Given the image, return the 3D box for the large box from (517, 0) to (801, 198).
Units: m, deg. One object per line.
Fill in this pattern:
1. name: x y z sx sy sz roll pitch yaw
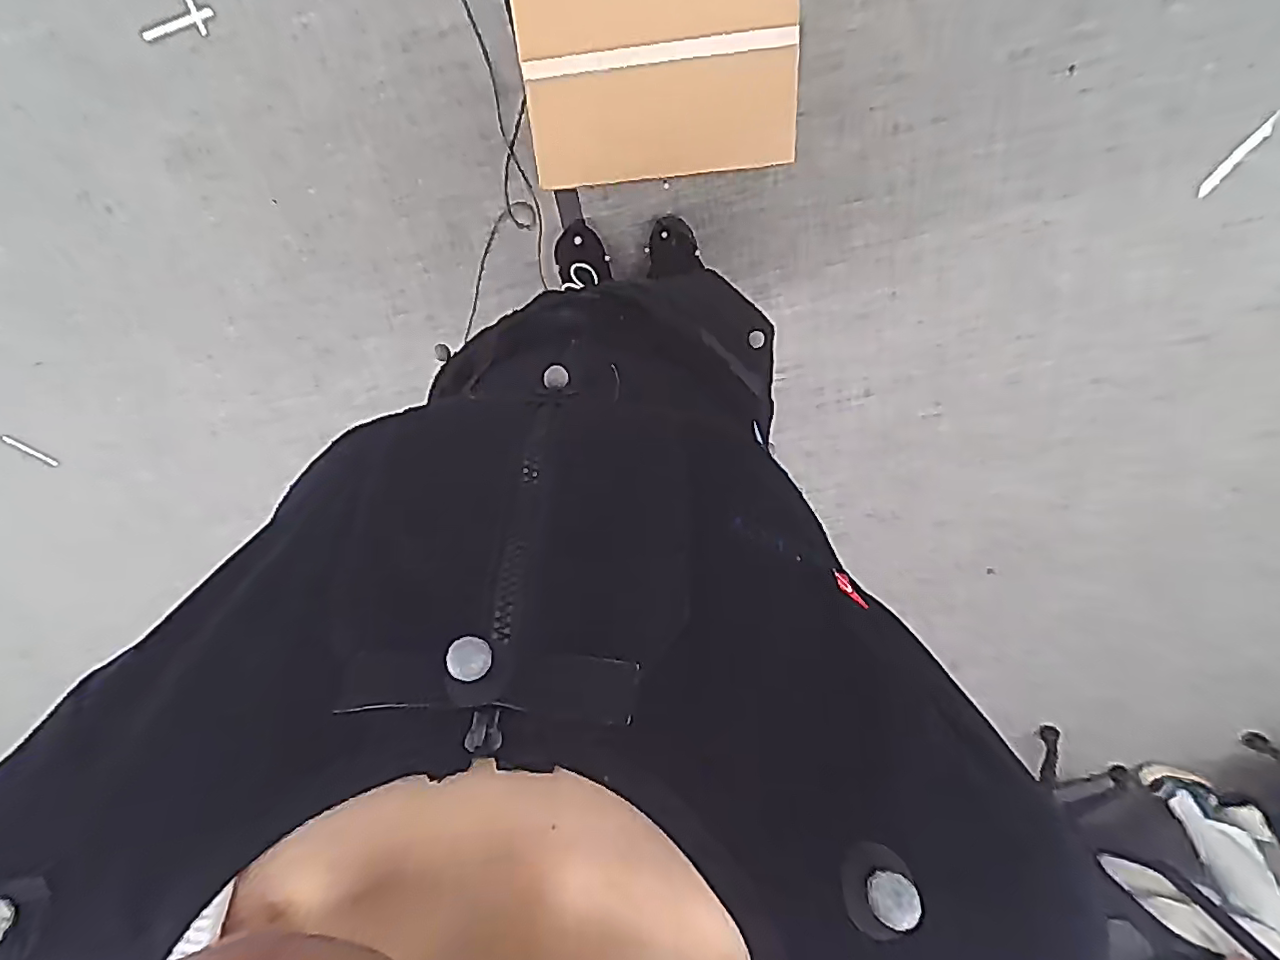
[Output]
1. large box: 0.037 -0.680 0.925 0.408 0.320 0.320 -4 119 4
